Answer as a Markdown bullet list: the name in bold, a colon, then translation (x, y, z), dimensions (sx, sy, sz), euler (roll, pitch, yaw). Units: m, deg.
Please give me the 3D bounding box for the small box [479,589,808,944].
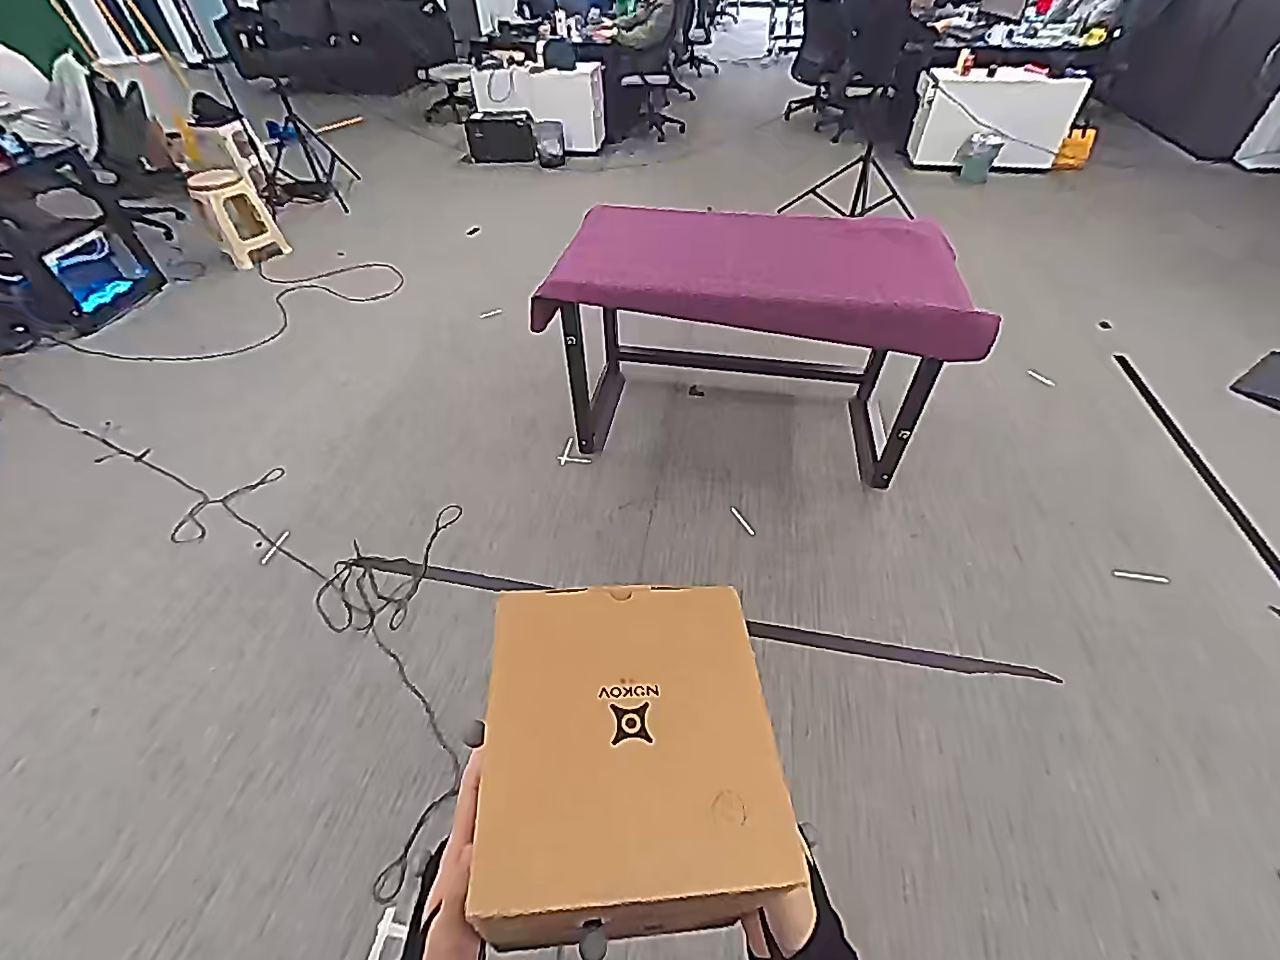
- **small box**: translation (-0.009, 0.197, 0.375), dimensions (0.168, 0.176, 0.179), euler (0, 44, -8)
